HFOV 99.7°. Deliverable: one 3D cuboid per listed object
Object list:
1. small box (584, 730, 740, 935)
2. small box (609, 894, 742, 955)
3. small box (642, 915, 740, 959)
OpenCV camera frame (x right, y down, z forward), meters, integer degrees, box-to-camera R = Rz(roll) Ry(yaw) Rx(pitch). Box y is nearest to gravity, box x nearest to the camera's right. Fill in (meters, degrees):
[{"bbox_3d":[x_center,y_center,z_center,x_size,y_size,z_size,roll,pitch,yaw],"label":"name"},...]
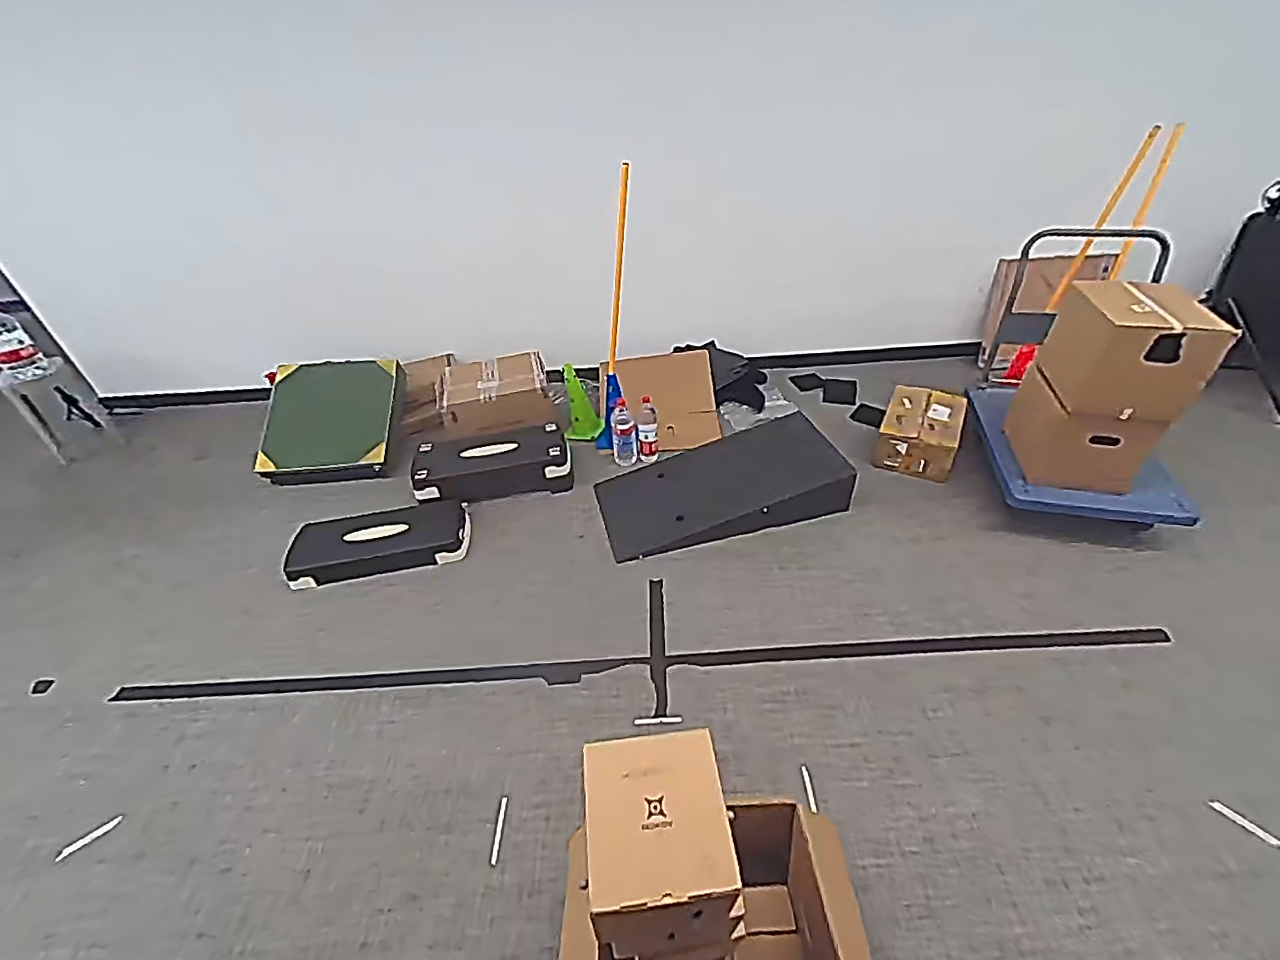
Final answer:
[{"bbox_3d":[0.019,0.446,0.682,0.168,0.176,0.179,-4,42,-5],"label":"small box"},{"bbox_3d":[0.038,0.567,0.792,0.179,0.176,0.168,-5,43,-6],"label":"small box"},{"bbox_3d":[0.068,0.797,1.027,0.179,0.176,0.168,-14,43,-17],"label":"small box"}]
